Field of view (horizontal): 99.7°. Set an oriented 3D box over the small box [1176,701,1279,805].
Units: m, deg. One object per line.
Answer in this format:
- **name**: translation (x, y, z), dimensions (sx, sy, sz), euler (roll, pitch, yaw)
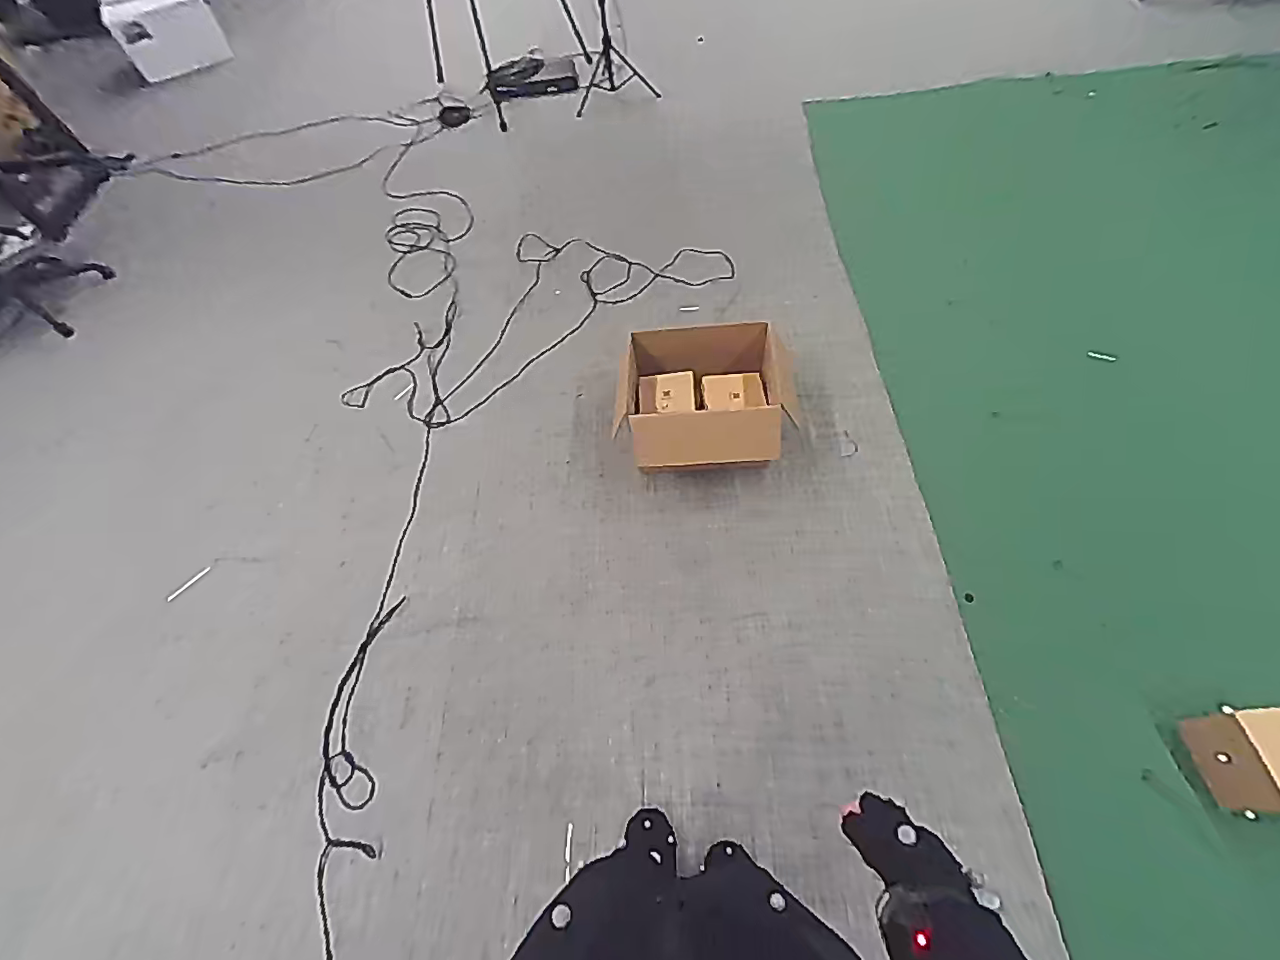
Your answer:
- **small box**: translation (1.278, 0.556, 1.102), dimensions (0.168, 0.176, 0.179), euler (-6, 58, 3)
